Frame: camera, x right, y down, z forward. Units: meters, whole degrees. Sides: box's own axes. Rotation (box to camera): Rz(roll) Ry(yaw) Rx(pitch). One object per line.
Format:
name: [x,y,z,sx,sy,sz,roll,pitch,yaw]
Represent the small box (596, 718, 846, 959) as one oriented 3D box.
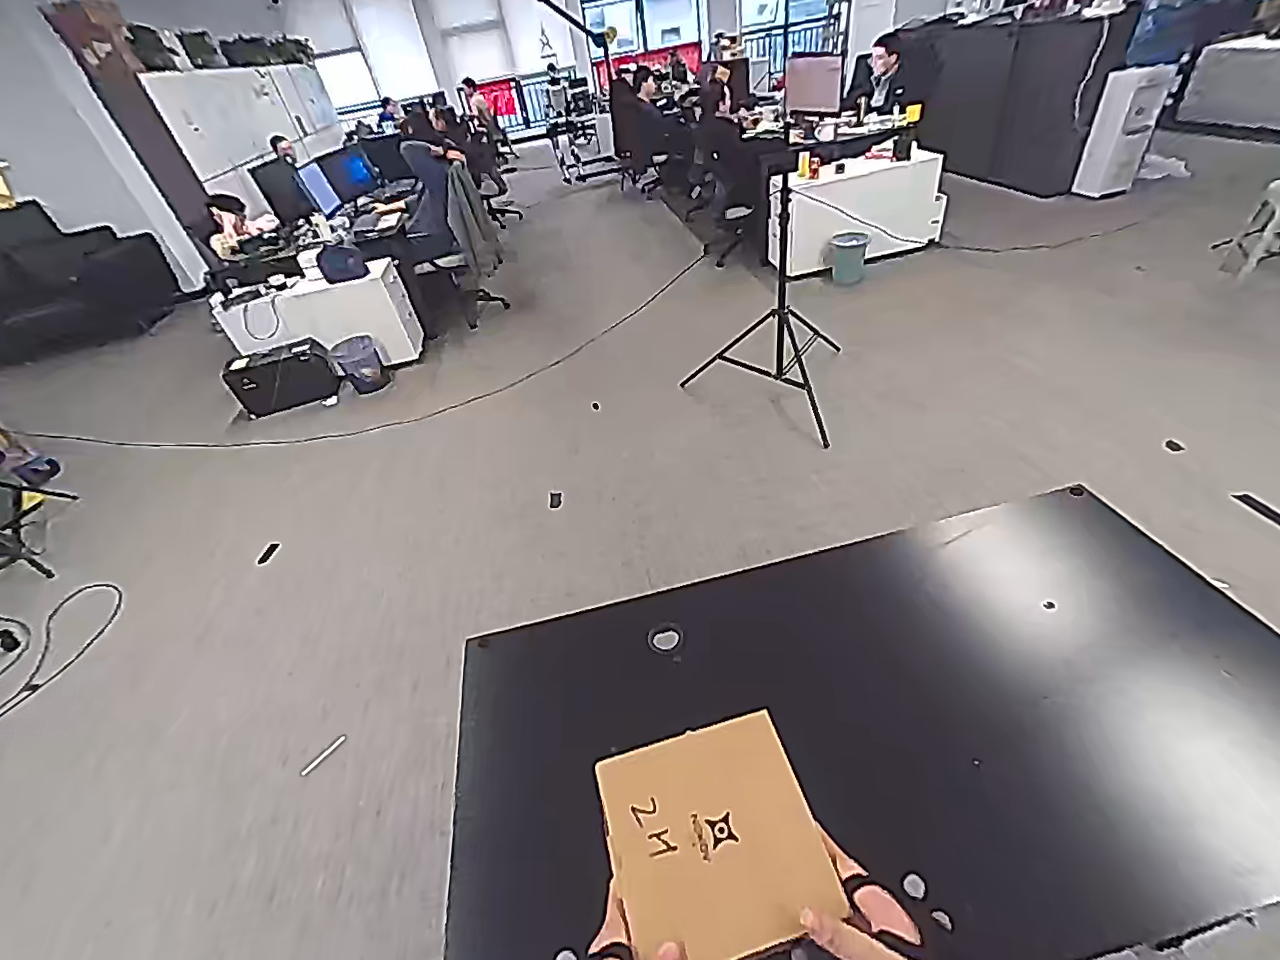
small box: [0.066,0.362,0.523,0.179,0.176,0.168,-15,46,-6]
